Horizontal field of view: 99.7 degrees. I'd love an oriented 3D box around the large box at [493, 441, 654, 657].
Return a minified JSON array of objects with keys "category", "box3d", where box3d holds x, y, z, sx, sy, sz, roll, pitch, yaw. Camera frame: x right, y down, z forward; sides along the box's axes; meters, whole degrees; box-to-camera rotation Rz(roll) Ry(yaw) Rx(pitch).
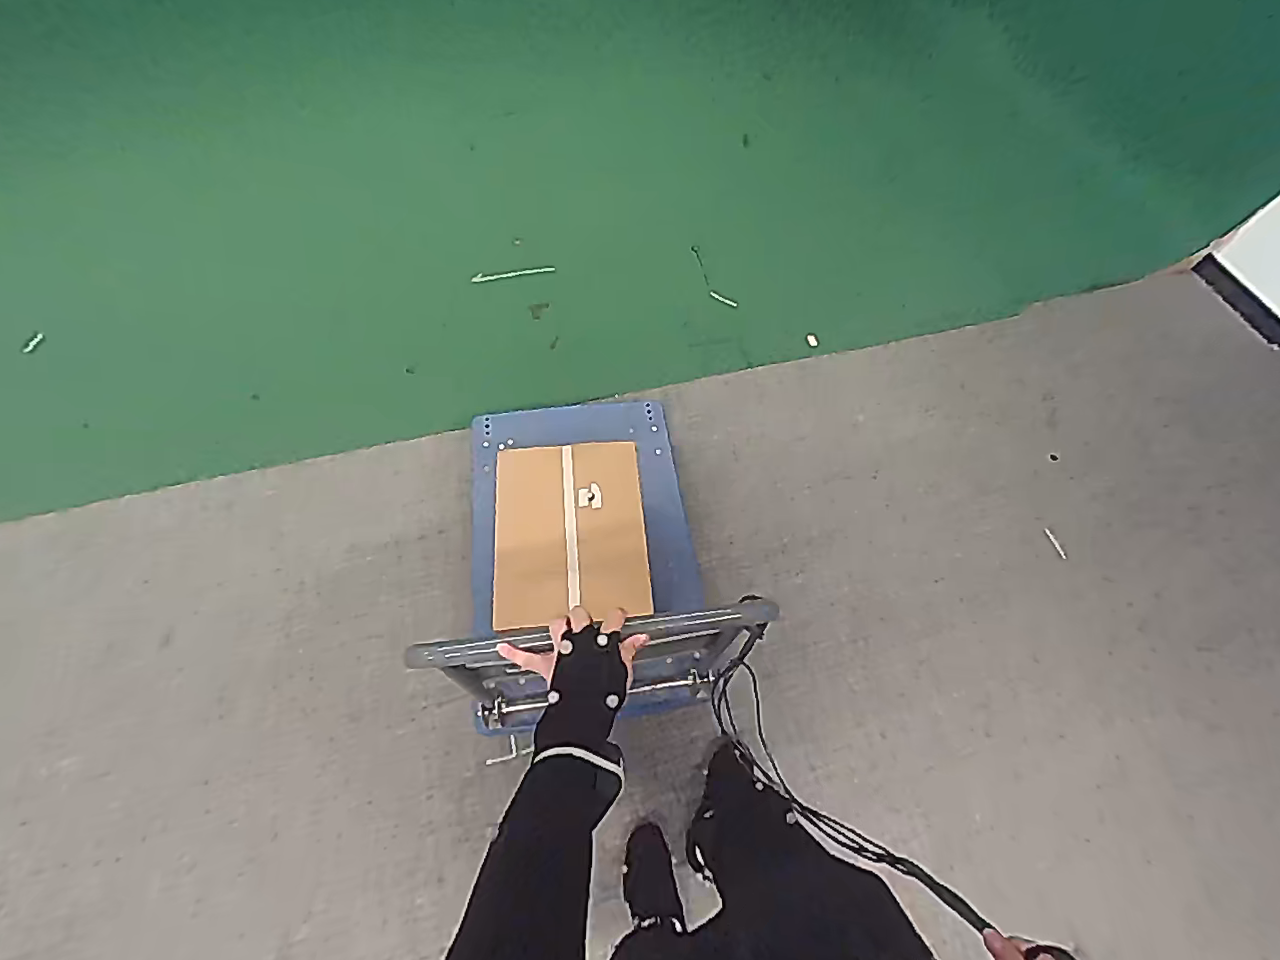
[{"category":"large box","box3d":[-0.153,0.165,1.255,0.320,0.320,0.408,-3,62,-6]}]
